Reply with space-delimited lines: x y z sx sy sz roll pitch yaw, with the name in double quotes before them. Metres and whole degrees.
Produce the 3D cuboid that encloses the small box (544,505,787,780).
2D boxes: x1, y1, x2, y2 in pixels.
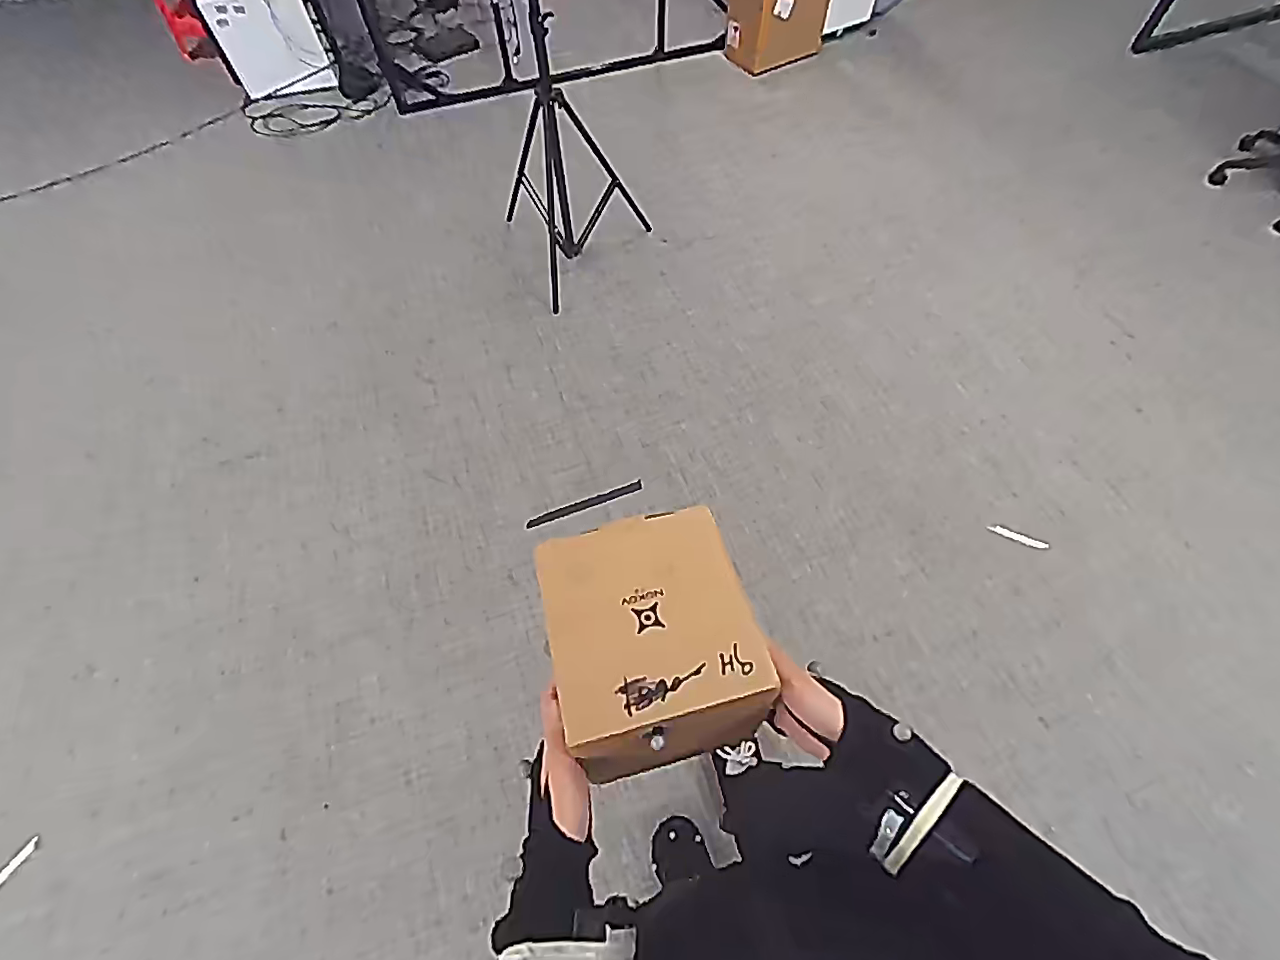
"small box" 0.013 0.153 0.506 0.168 0.176 0.179 -13 53 -7
